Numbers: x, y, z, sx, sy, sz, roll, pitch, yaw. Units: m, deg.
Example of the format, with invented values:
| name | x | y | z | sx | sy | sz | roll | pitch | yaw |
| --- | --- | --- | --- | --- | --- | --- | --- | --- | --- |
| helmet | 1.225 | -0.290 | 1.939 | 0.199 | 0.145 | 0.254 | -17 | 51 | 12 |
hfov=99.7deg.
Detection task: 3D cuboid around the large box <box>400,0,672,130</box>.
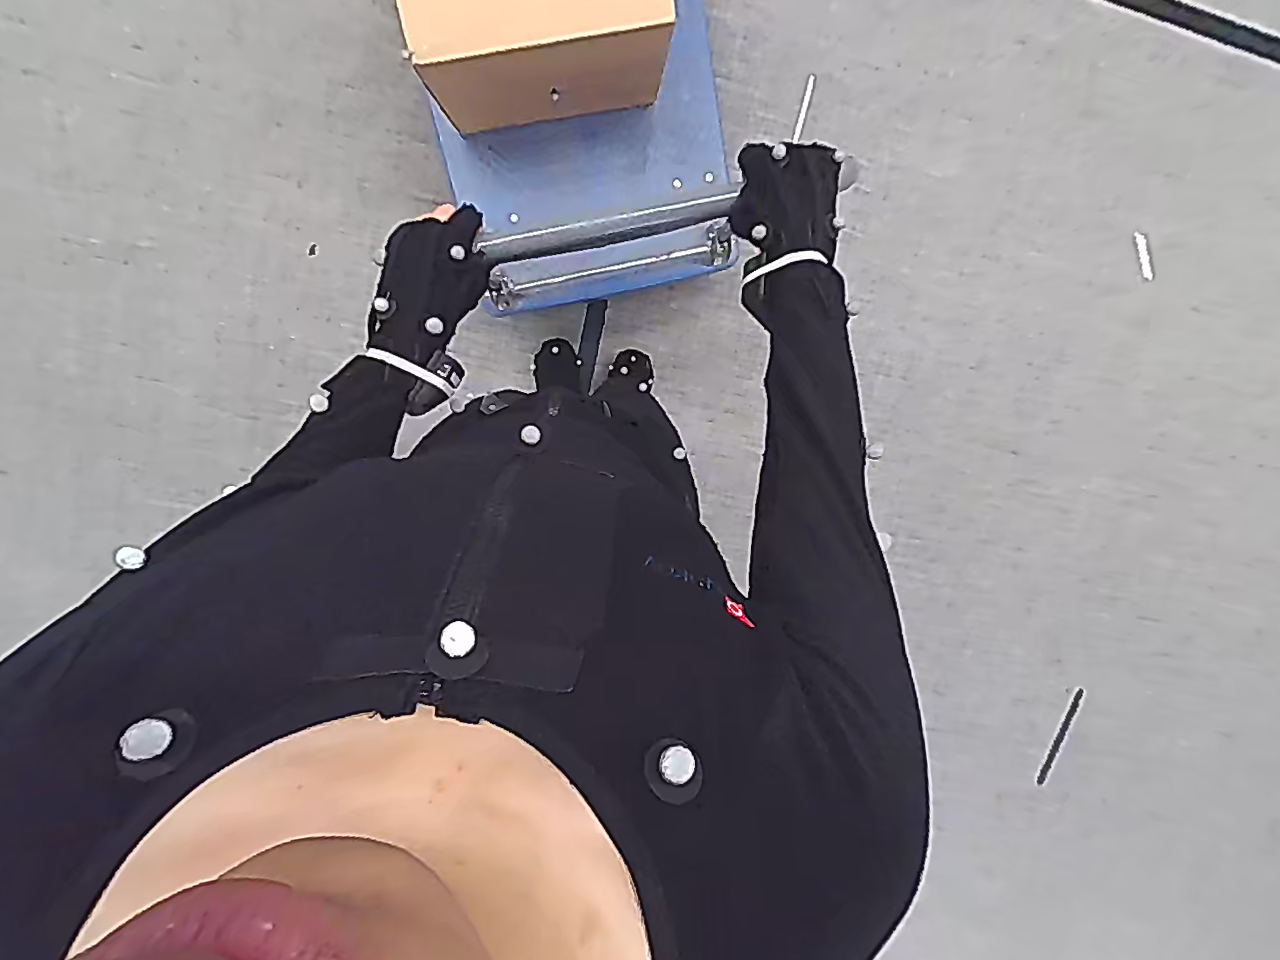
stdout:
| name | x | y | z | sx | sy | sz | roll | pitch | yaw |
| --- | --- | --- | --- | --- | --- | --- | --- | --- | --- |
| large box | -0.180 | -0.848 | 0.923 | 0.408 | 0.320 | 0.320 | -11 | 106 | -1 |
